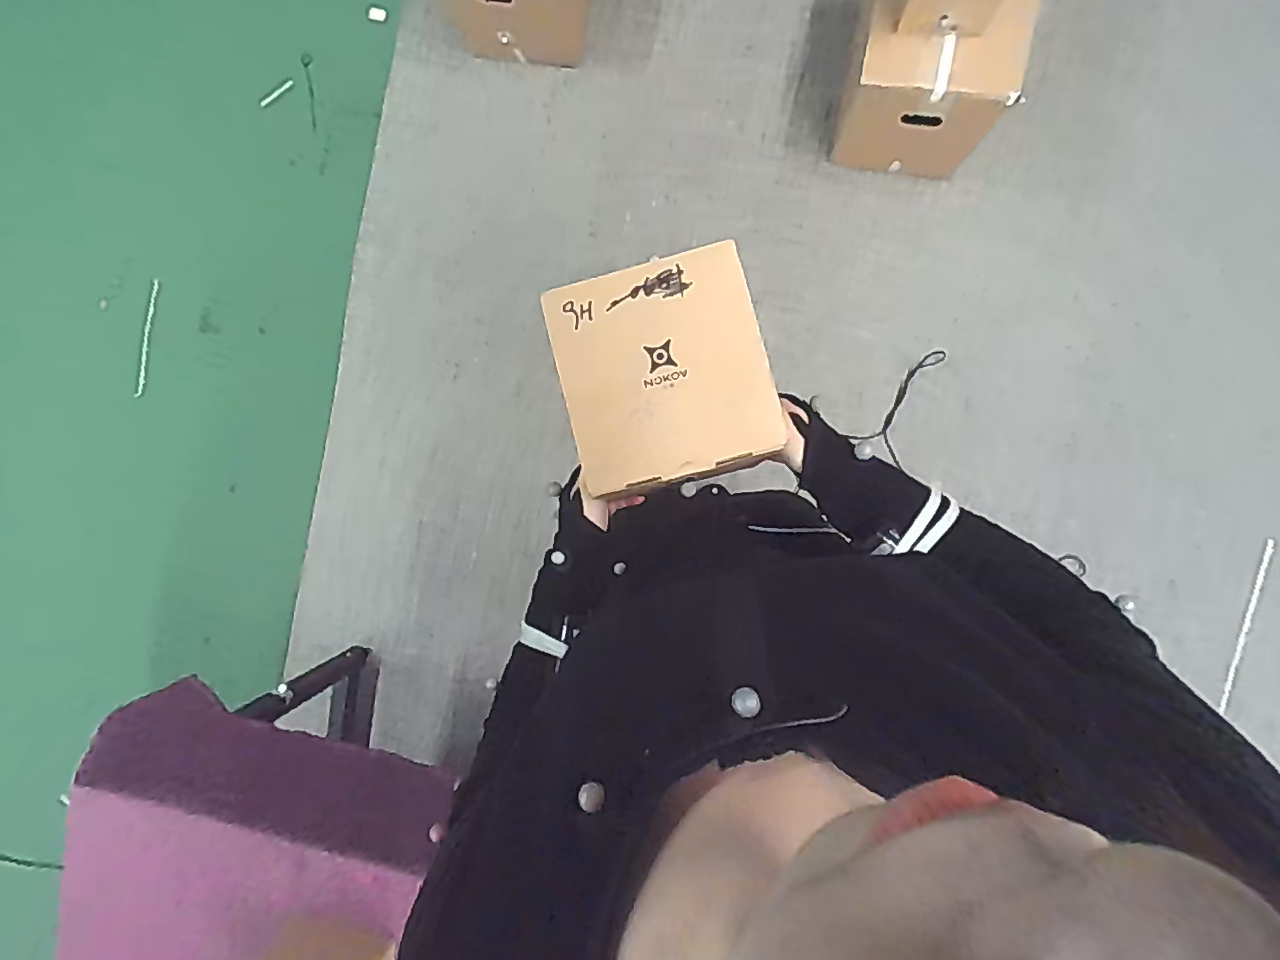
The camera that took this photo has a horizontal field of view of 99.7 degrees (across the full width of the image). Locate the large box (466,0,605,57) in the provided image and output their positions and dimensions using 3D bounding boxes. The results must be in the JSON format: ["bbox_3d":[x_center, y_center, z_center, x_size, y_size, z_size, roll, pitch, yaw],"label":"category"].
[{"bbox_3d":[-0.255,-1.370,1.342,0.320,0.320,0.408,13,93,7],"label":"large box"}]

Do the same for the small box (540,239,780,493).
[{"bbox_3d":[0.021,-0.090,0.516,0.168,0.176,0.179,-14,87,3],"label":"small box"}]
